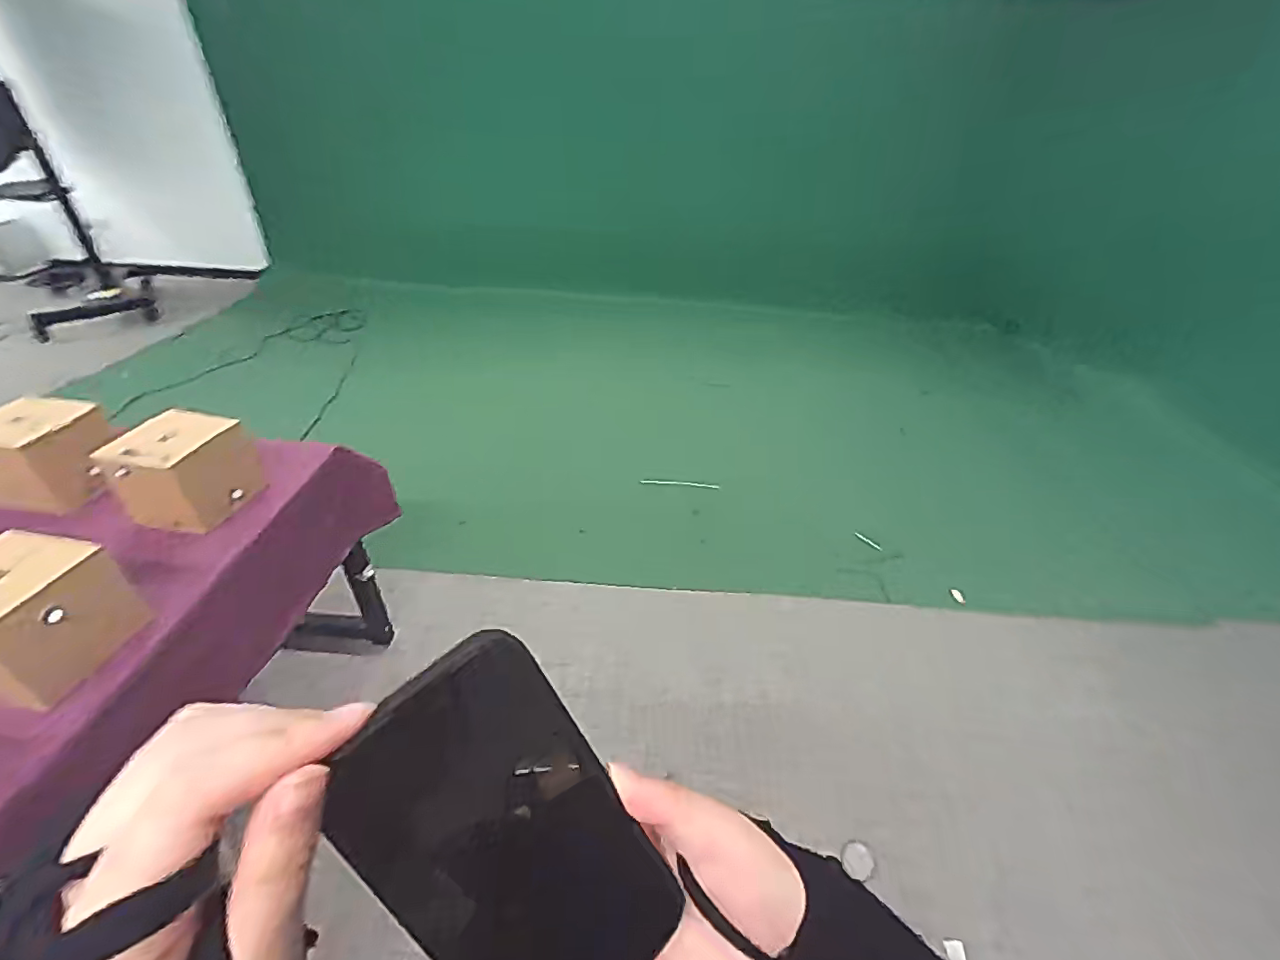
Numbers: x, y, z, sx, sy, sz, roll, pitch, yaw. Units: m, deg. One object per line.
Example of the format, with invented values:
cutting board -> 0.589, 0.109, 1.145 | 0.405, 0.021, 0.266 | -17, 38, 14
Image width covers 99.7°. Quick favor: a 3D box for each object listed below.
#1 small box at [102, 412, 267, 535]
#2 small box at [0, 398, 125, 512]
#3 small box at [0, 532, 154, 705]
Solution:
small box -> -0.906, -0.016, 1.103 | 0.168, 0.176, 0.179 | 8, 36, 7
small box -> -1.218, -0.051, 1.122 | 0.179, 0.176, 0.168 | 7, 37, 4
small box -> -0.897, 0.205, 0.805 | 0.168, 0.176, 0.179 | 8, 36, 6
